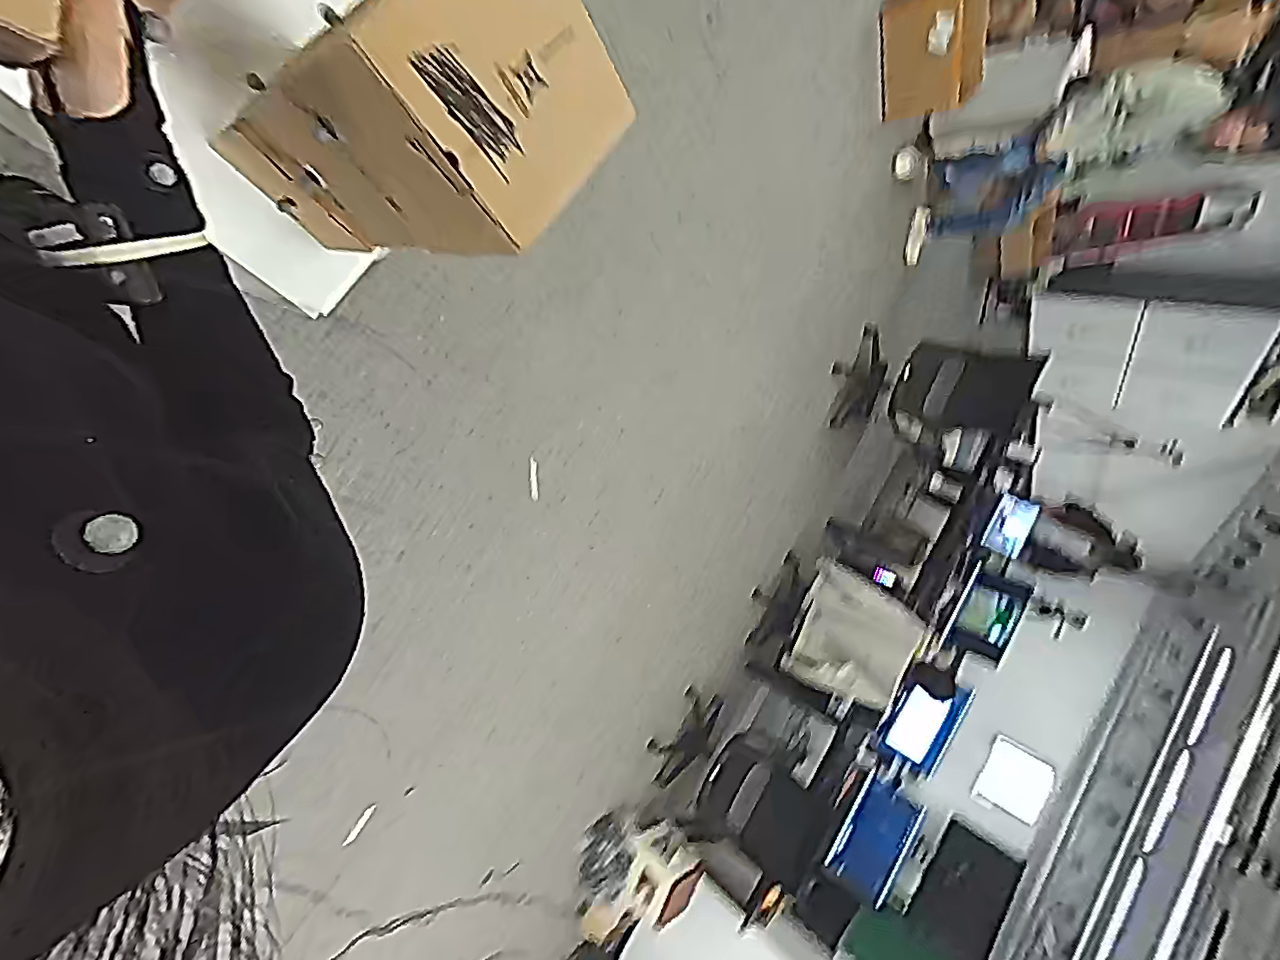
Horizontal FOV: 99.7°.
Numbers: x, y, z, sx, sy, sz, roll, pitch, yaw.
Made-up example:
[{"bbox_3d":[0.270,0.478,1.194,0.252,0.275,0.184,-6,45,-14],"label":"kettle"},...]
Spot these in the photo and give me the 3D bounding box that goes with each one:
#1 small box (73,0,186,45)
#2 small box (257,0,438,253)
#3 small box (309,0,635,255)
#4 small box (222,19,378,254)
[{"bbox_3d":[-0.485,-0.545,0.485,0.179,0.176,0.168,-58,139,-8],"label":"small box"},{"bbox_3d":[-0.256,-0.366,0.565,0.179,0.176,0.168,-56,137,-11],"label":"small box"},{"bbox_3d":[-0.143,-0.313,0.457,0.179,0.176,0.168,-57,137,-13],"label":"small box"},{"bbox_3d":[-0.375,-0.408,0.668,0.179,0.176,0.168,-56,139,-10],"label":"small box"}]
